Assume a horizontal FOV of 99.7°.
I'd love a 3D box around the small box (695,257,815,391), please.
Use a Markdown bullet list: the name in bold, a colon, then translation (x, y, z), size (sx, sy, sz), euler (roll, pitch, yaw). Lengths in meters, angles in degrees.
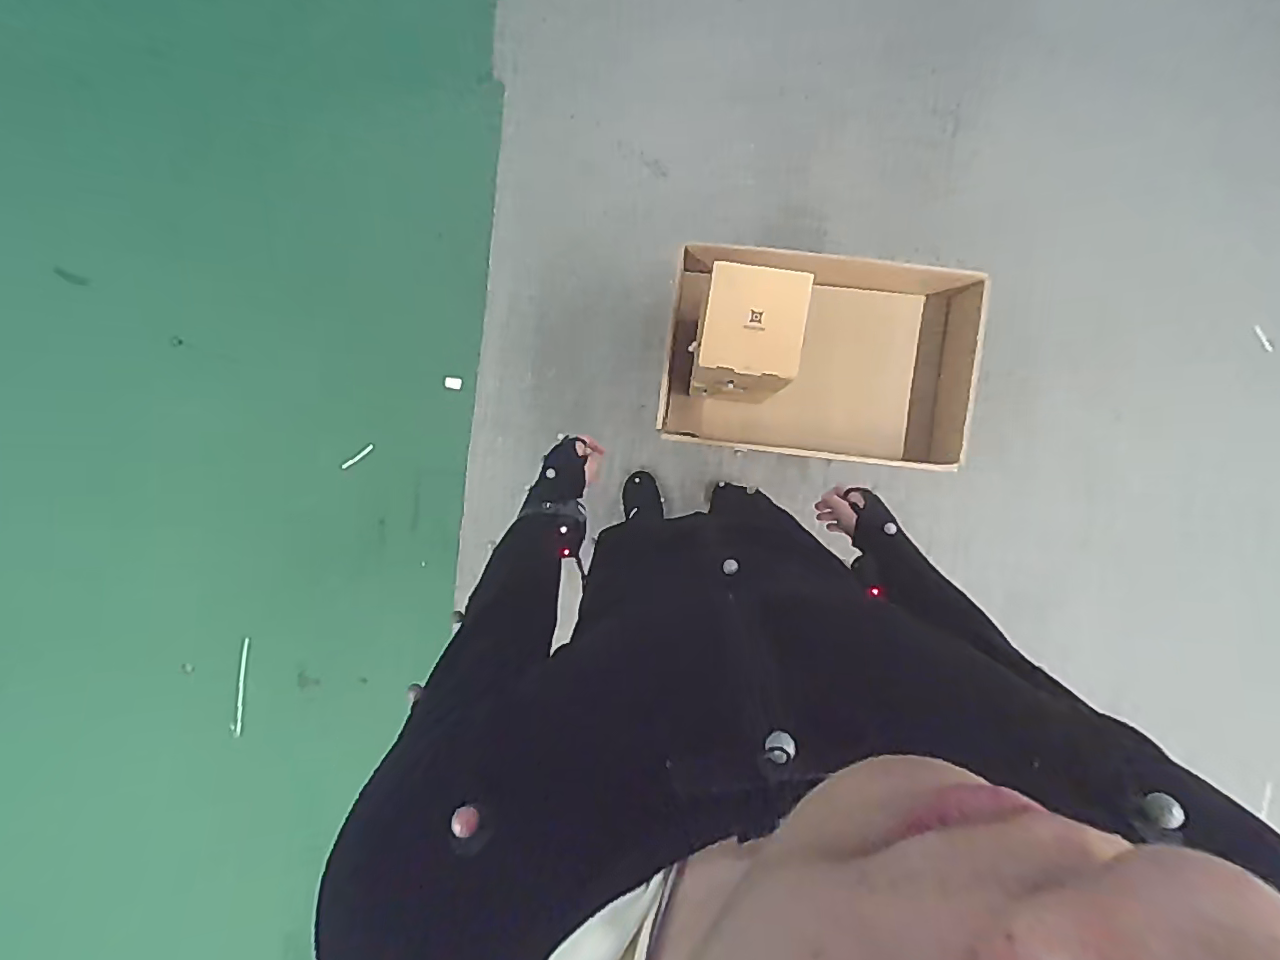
- **small box**: translation (0.193, -0.266, 0.958), size (0.168, 0.176, 0.179), euler (9, 91, 2)
